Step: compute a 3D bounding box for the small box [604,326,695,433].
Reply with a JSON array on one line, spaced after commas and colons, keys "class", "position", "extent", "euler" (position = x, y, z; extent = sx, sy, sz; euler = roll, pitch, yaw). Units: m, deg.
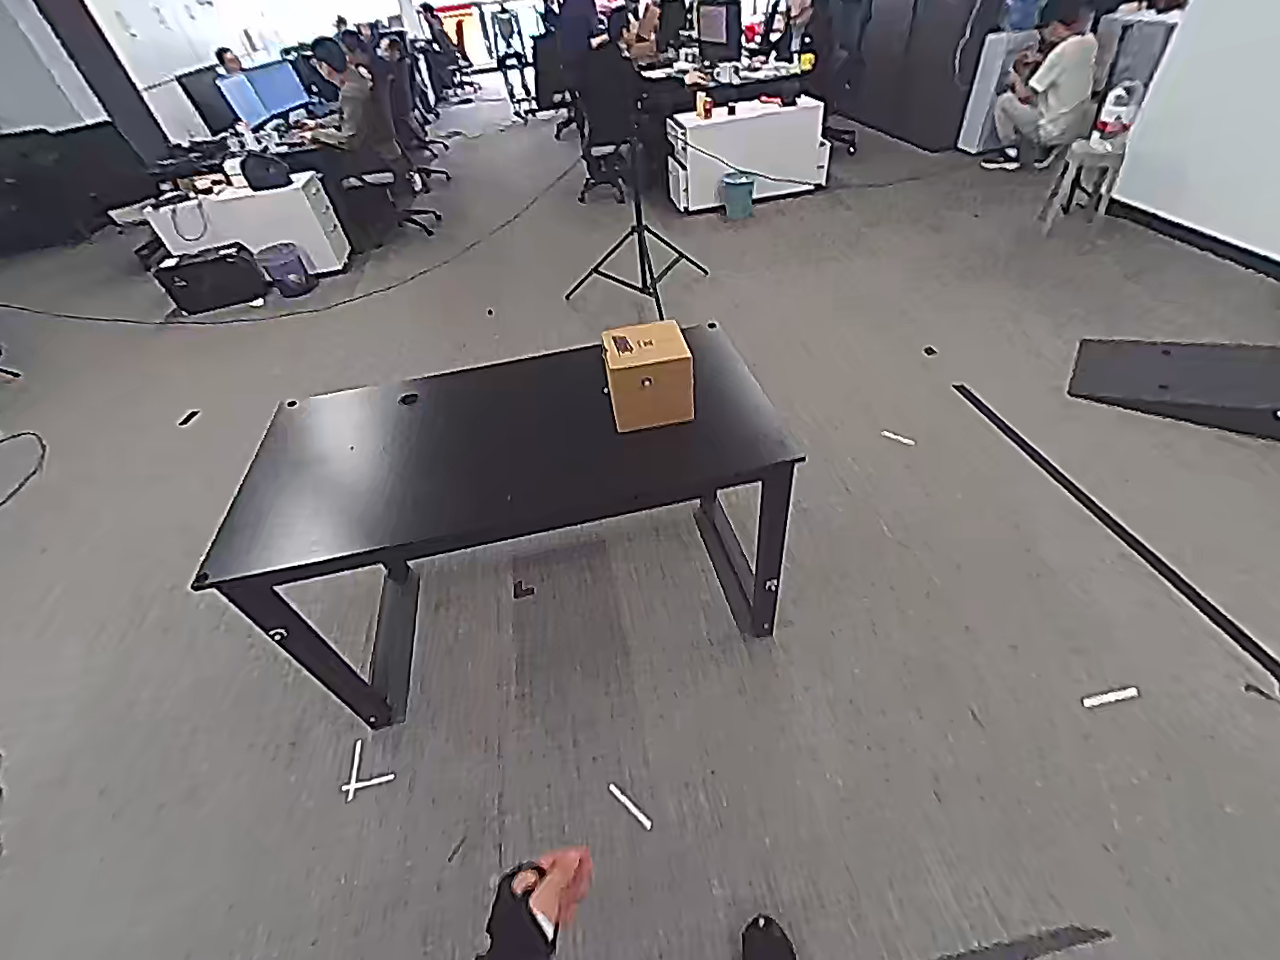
[{"class": "small box", "position": [0.022, -0.225, 1.230], "extent": [0.179, 0.176, 0.168], "euler": [-10, 44, -3]}]
